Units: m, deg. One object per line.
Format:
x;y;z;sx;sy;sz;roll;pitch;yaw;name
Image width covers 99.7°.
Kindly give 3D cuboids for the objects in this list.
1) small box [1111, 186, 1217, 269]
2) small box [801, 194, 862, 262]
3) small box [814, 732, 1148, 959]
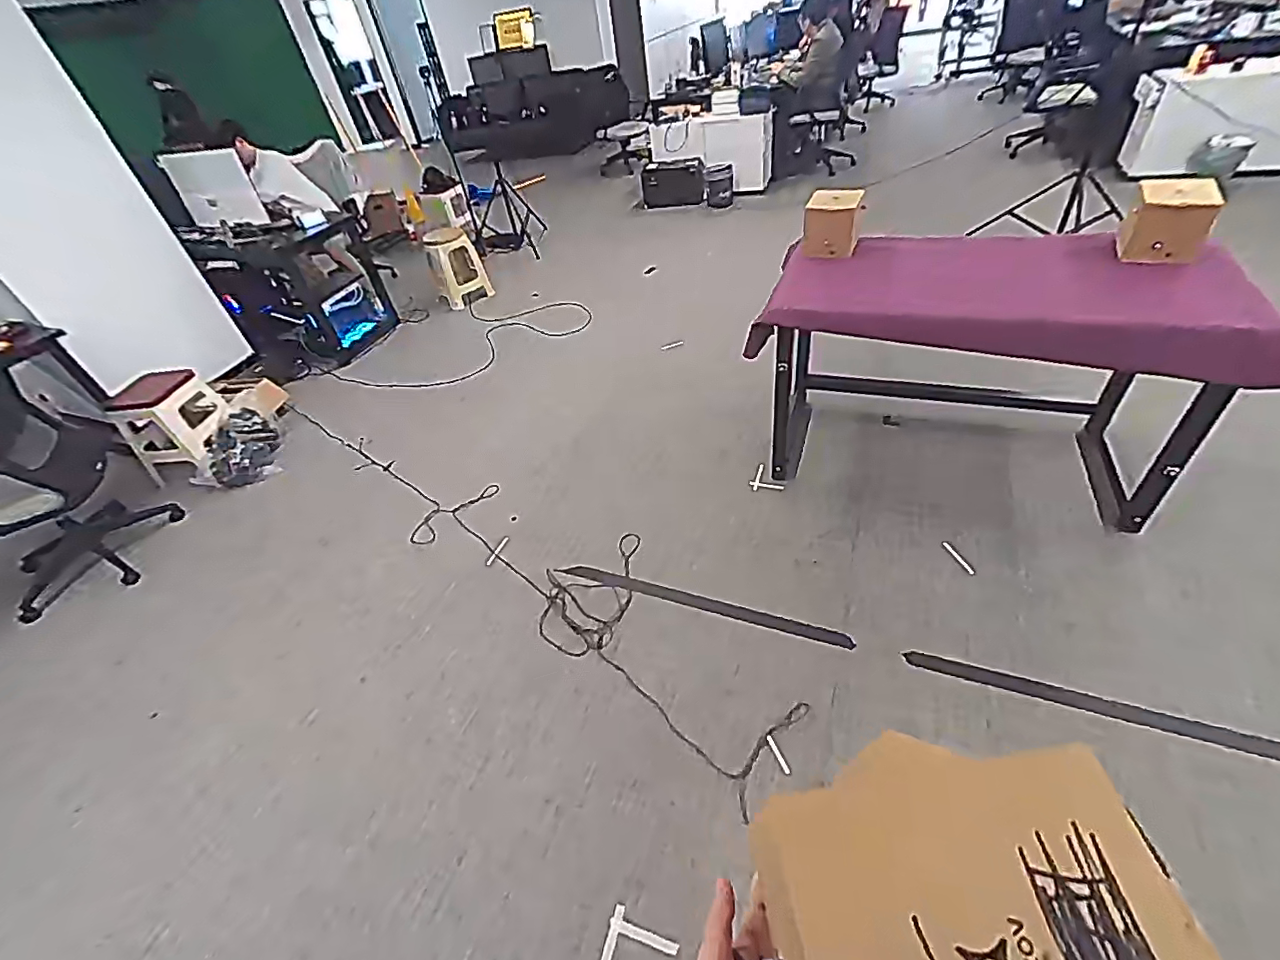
1.510;-0.736;1.573;0.168;0.176;0.179;13;51;24;small box
0.672;-0.892;1.909;0.168;0.176;0.179;13;49;24;small box
0.261;0.339;0.444;0.179;0.176;0.168;16;55;15;small box
